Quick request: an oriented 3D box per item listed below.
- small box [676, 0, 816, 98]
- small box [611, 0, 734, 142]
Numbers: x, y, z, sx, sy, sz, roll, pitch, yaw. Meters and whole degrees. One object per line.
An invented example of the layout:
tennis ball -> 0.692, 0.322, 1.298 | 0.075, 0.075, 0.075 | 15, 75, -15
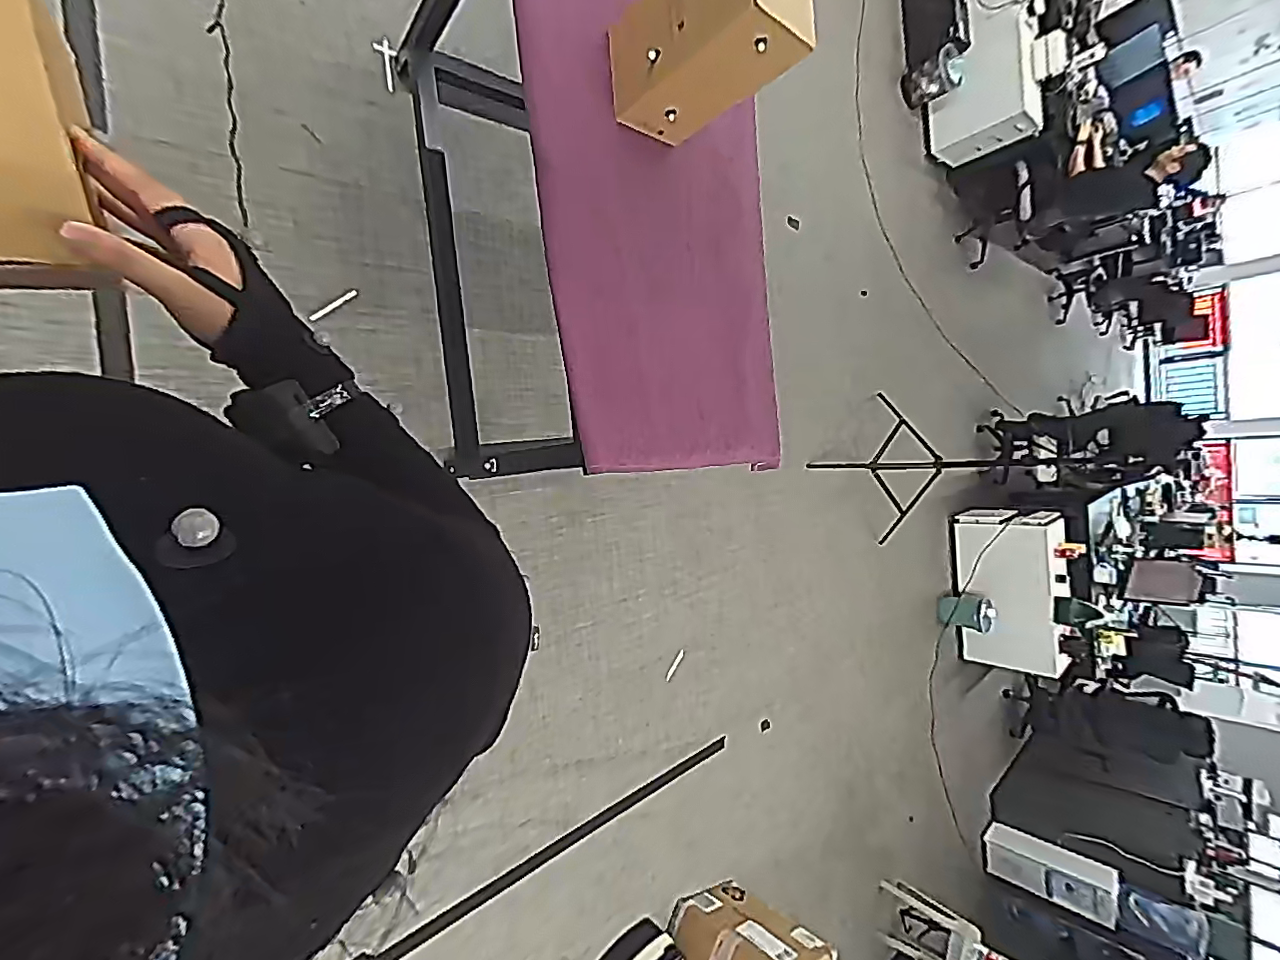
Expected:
small box -> 0.173, -0.795, 0.915 | 0.179, 0.176, 0.168 | -9, 95, -41
small box -> 0.060, -0.792, 1.034 | 0.168, 0.176, 0.179 | -6, 93, -41
